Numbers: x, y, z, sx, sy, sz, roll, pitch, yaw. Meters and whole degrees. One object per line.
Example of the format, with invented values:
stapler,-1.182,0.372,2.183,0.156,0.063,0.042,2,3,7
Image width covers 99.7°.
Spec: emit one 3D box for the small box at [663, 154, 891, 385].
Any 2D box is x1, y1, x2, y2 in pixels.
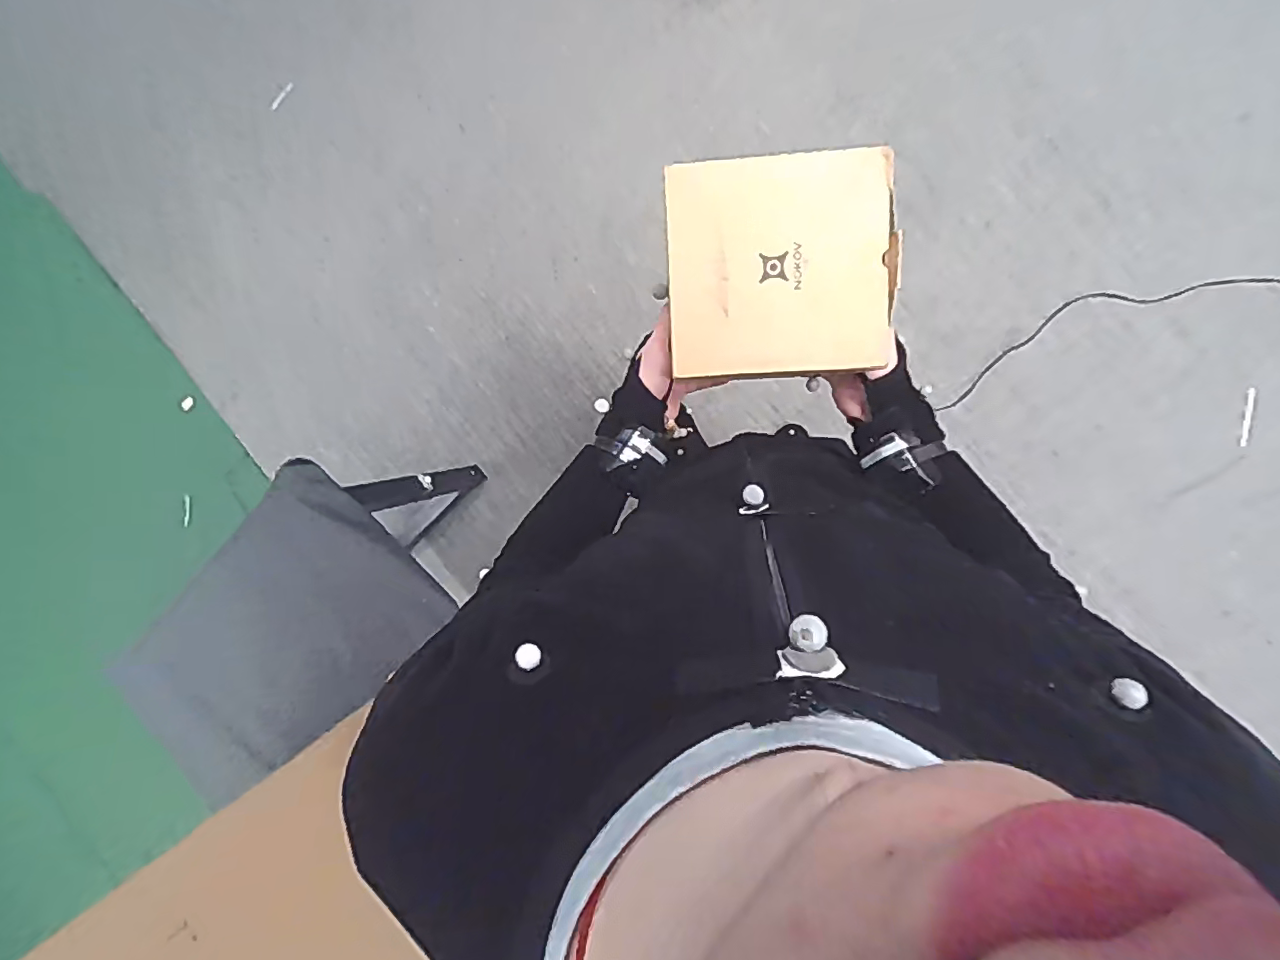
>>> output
small box,0.113,-0.177,0.506,0.179,0.176,0.168,-2,98,6
